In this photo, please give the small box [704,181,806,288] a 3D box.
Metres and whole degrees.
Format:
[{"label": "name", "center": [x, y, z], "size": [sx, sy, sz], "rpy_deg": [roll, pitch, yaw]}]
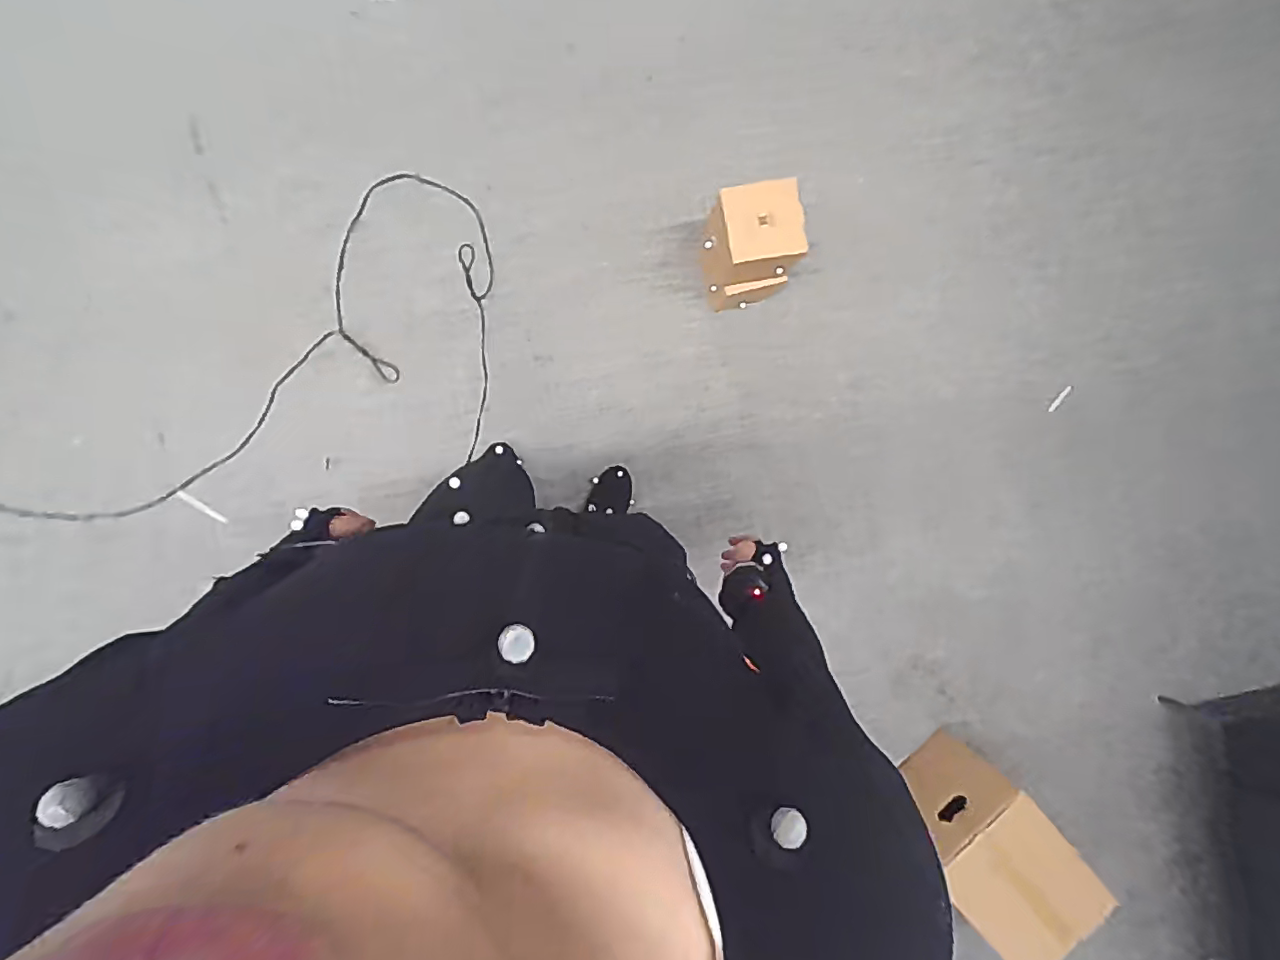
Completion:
[{"label": "small box", "center": [0.262, -0.564, 1.260], "size": [0.179, 0.176, 0.168], "rpy_deg": [-11, 93, -5]}]
